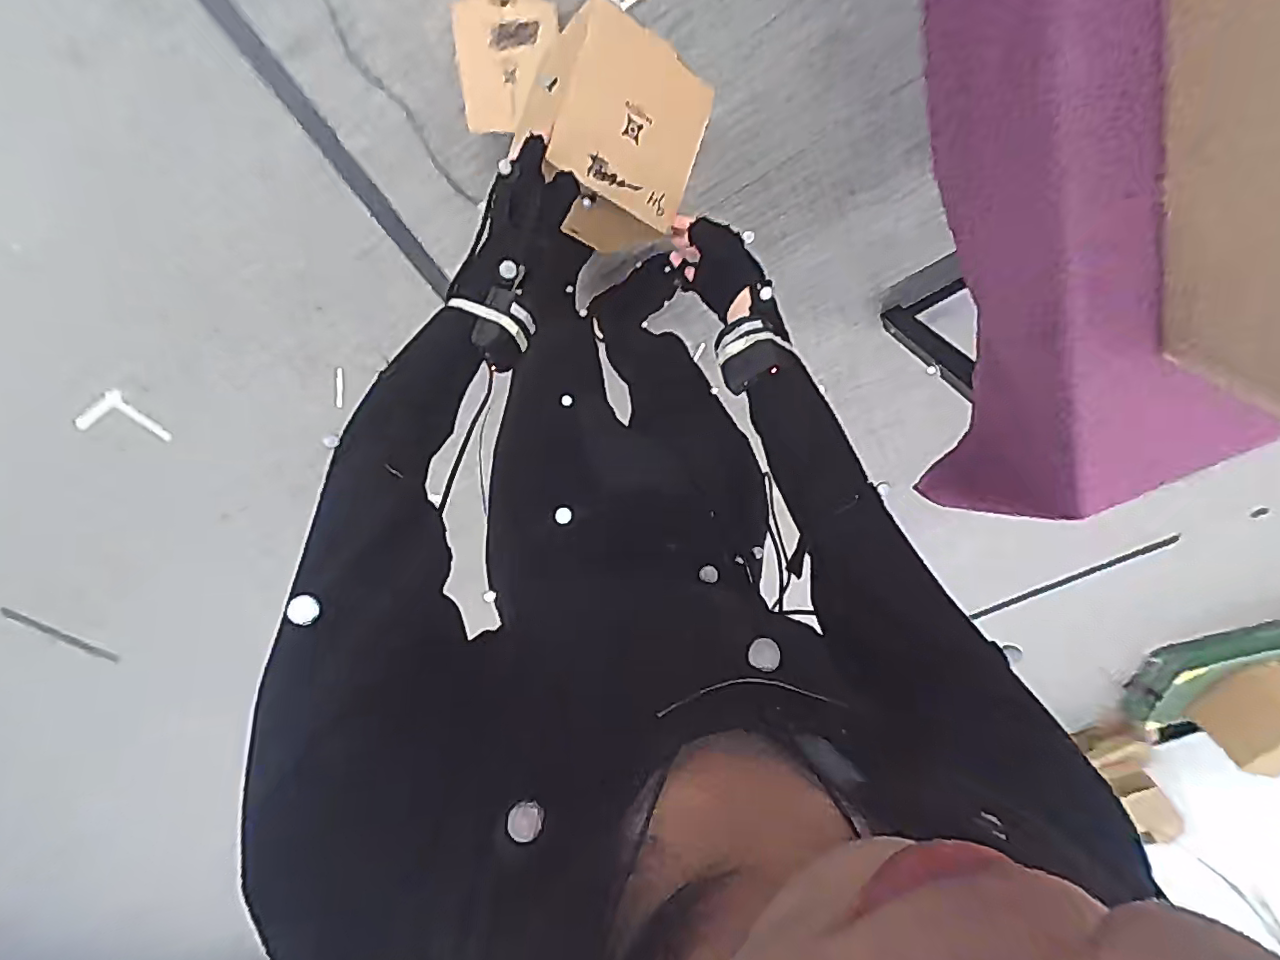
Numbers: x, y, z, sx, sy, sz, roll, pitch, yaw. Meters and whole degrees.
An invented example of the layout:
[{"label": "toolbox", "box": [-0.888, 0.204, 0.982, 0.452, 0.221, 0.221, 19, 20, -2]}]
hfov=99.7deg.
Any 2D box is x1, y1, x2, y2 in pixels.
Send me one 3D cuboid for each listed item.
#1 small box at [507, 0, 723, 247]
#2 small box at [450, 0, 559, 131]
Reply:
[{"label": "small box", "box": [-0.038, -0.402, 0.638, 0.168, 0.176, 0.179, 17, 95, -34]}, {"label": "small box", "box": [-0.224, -0.724, 0.949, 0.168, 0.176, 0.179, -3, 128, -5]}]
